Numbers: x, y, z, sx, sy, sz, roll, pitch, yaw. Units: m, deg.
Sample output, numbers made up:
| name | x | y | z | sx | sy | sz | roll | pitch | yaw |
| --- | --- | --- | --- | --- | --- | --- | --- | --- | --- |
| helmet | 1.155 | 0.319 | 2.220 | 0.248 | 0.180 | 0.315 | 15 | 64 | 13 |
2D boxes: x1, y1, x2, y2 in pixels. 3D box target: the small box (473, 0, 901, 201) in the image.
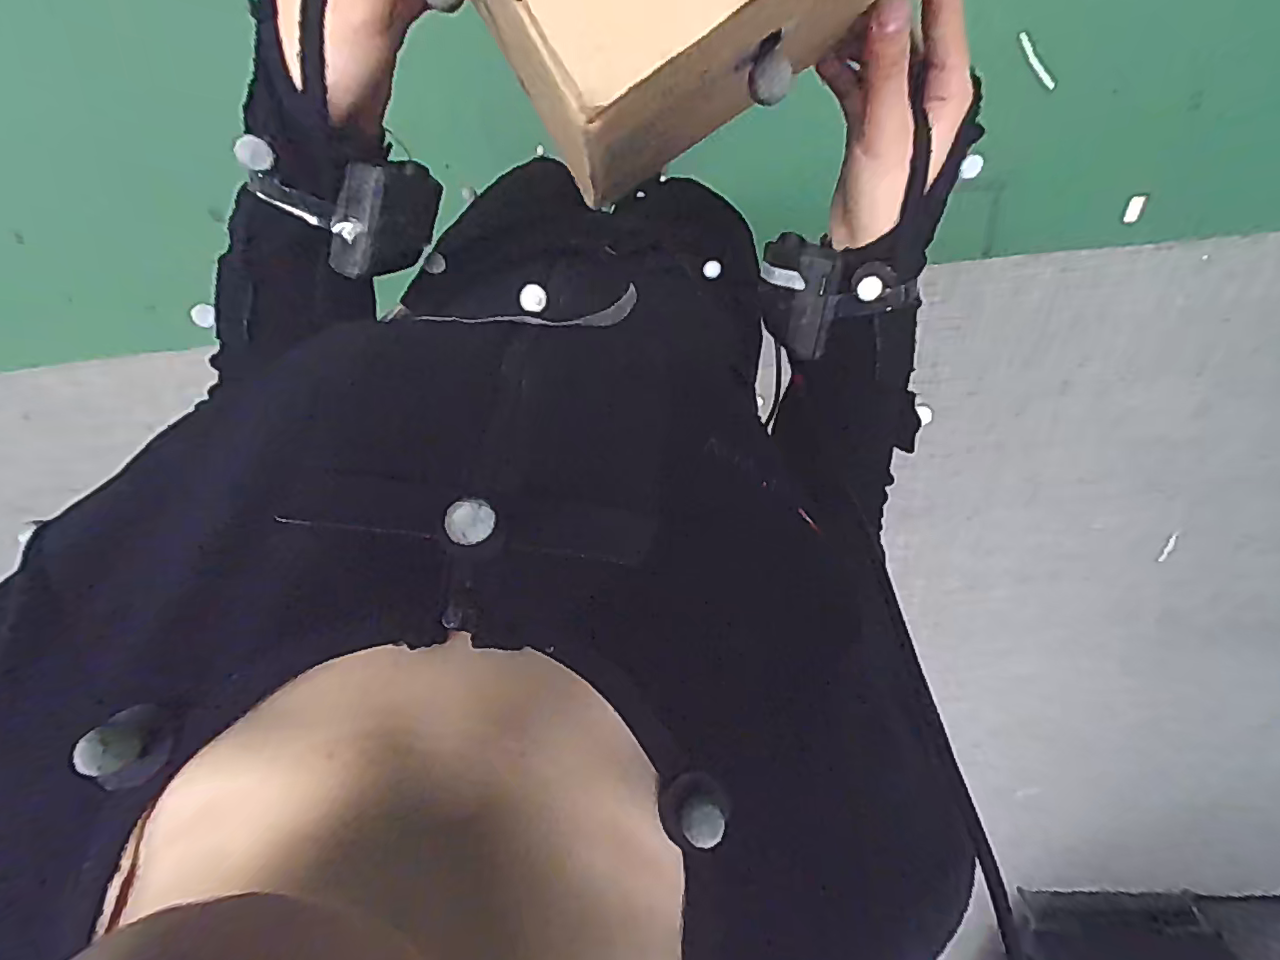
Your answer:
| name | x | y | z | sx | sy | sz | roll | pitch | yaw |
| --- | --- | --- | --- | --- | --- | --- | --- | --- | --- |
| small box | 0.011 | -0.221 | 0.178 | 0.179 | 0.176 | 0.168 | -31 | 108 | 8 |
